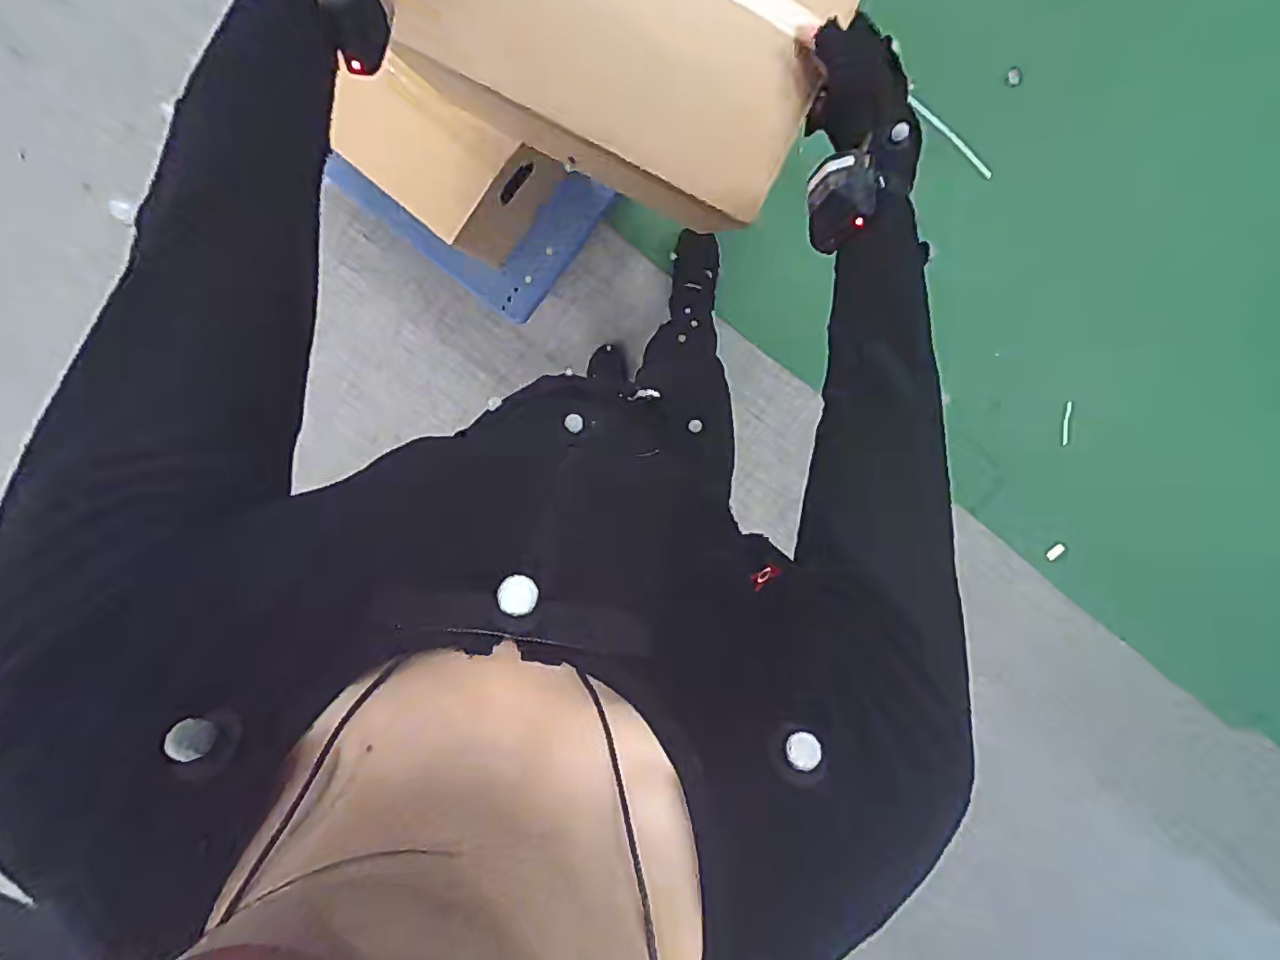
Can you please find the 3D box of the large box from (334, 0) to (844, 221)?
[{"bbox_3d":[-0.022,-0.515,0.576,0.408,0.320,0.320,22,110,-12],"label":"large box"}]
